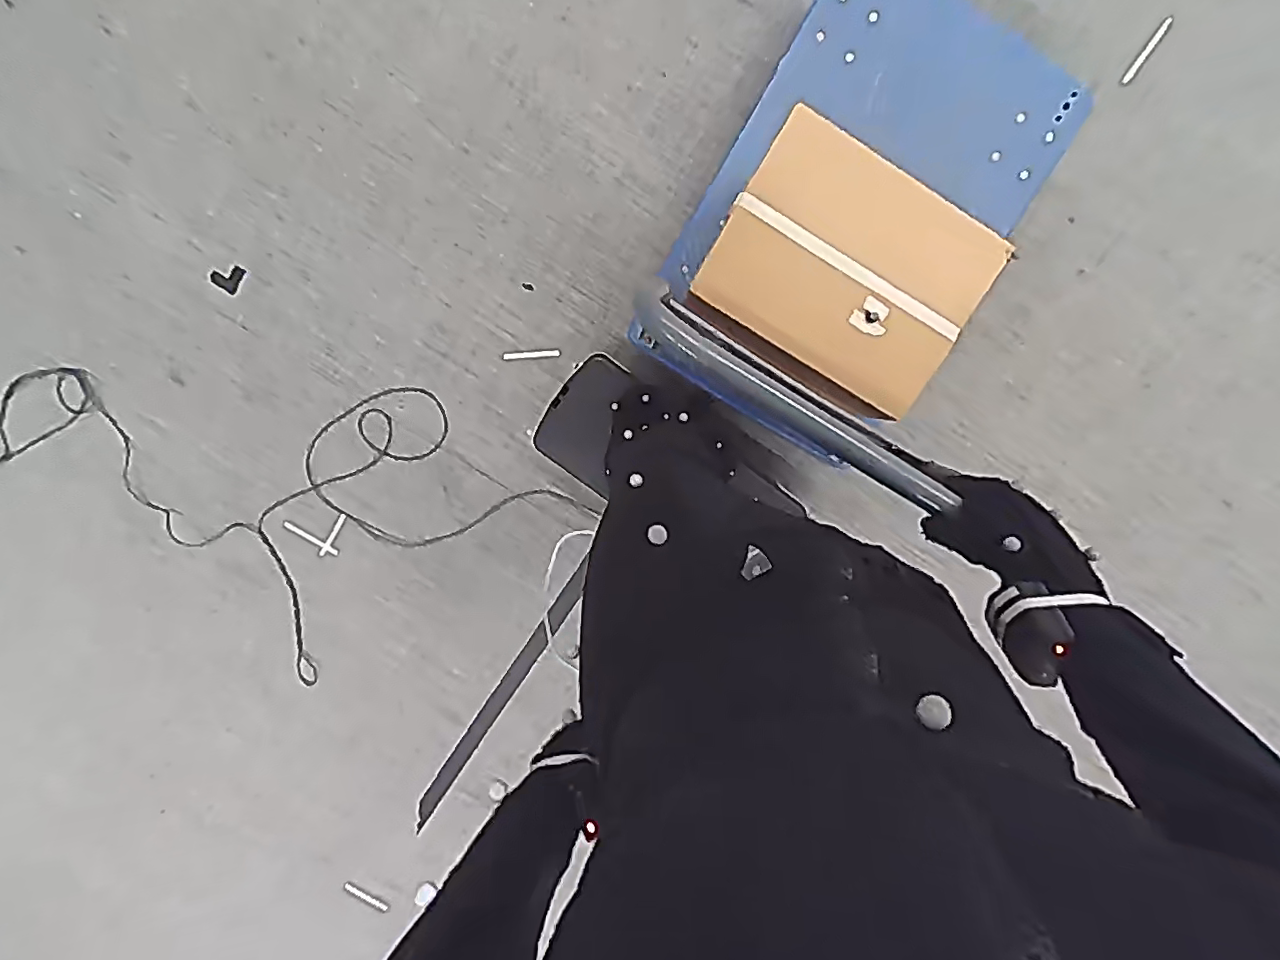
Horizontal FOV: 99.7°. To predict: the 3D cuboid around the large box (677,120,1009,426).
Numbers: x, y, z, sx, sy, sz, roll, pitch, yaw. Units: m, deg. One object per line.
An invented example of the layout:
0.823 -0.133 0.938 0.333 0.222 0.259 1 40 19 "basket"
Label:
0.319 -0.334 0.978 0.408 0.320 0.320 30 99 -5 "large box"
